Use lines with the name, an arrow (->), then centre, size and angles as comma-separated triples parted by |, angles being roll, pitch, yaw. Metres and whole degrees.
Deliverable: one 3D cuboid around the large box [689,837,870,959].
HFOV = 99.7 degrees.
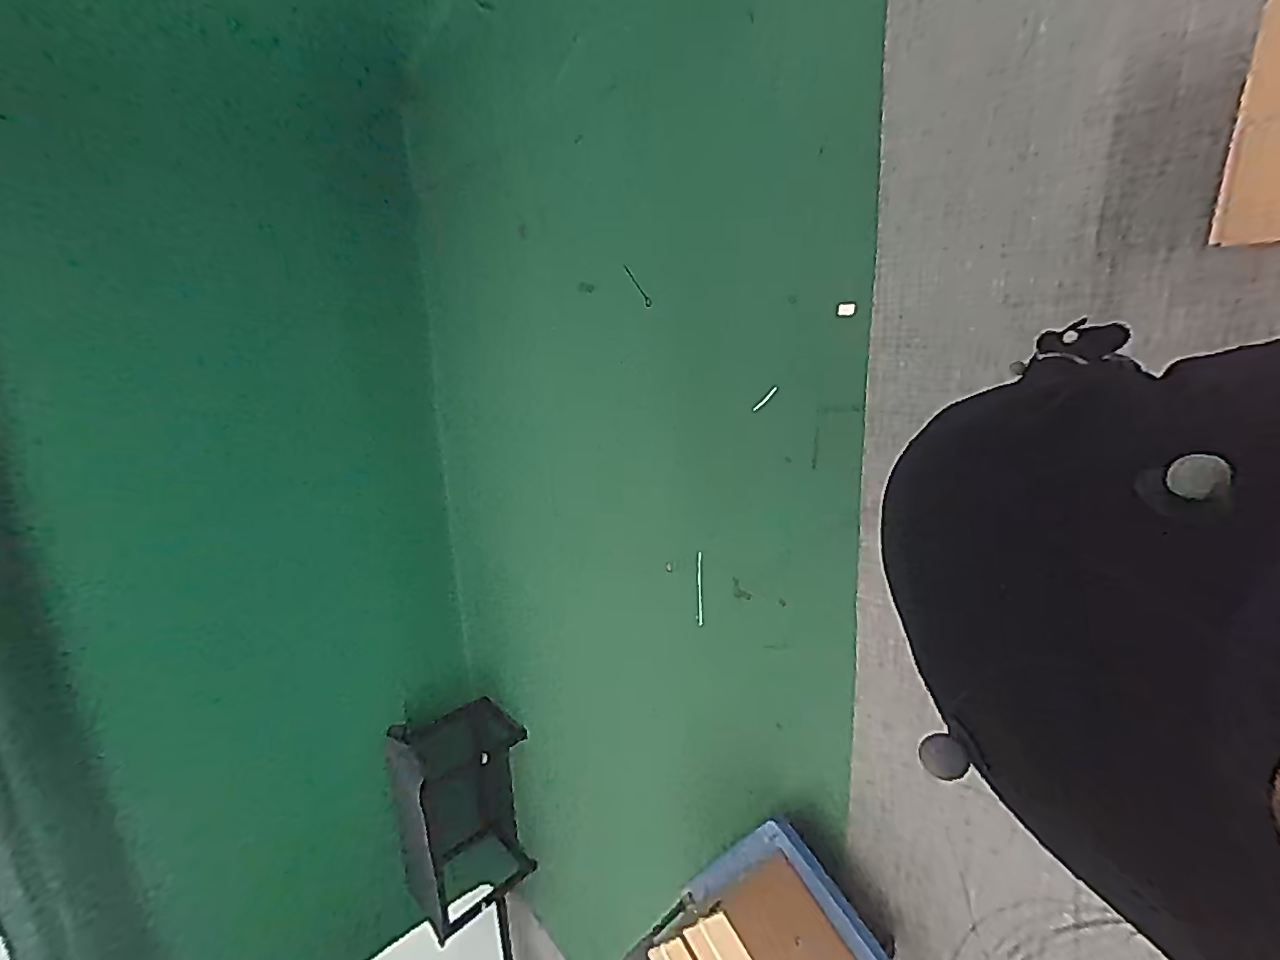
large box -> 0.440, 1.484, 1.753 | 0.408, 0.320, 0.320 | 49, 134, 27
